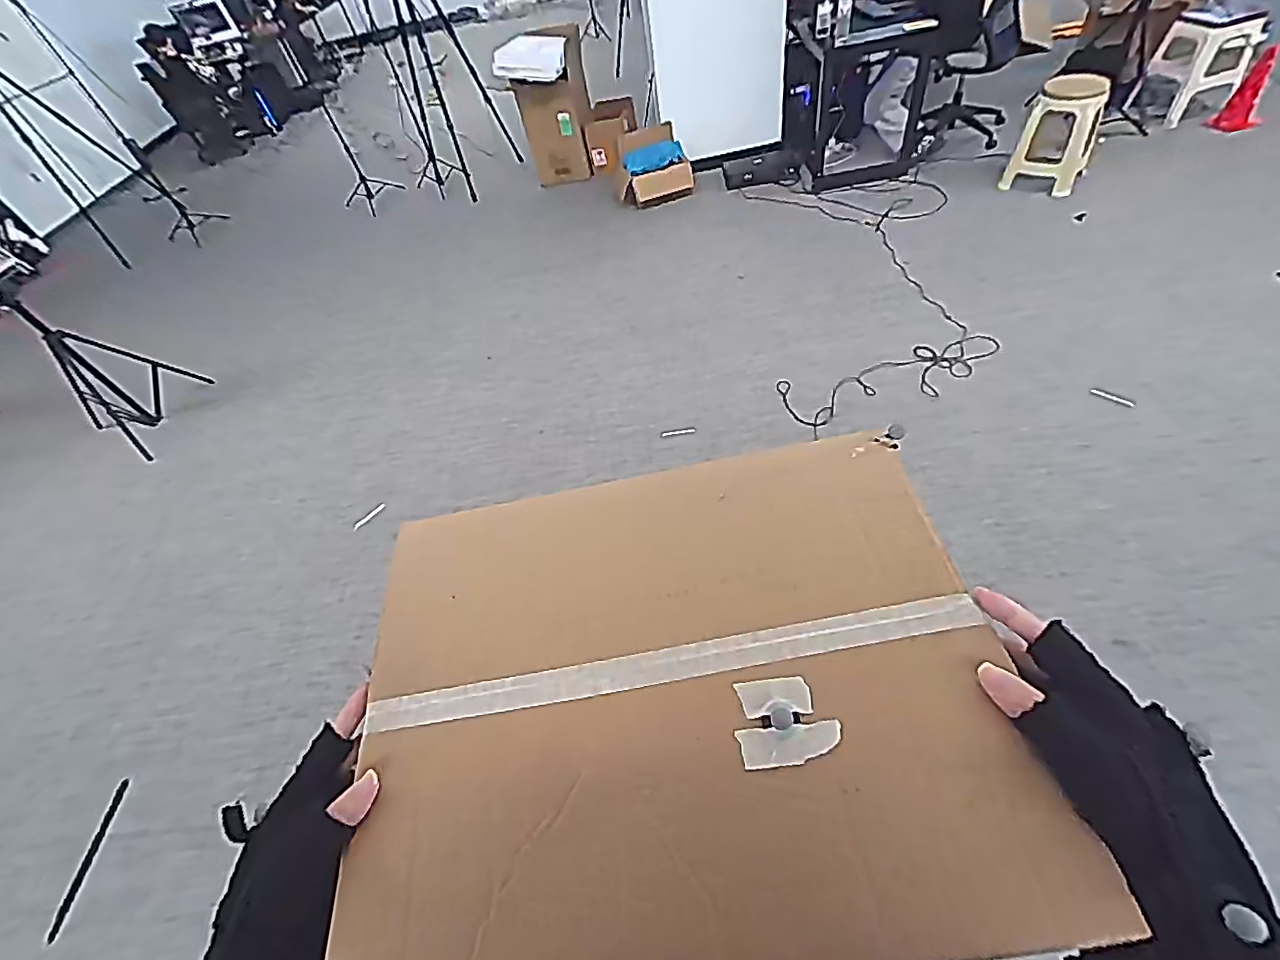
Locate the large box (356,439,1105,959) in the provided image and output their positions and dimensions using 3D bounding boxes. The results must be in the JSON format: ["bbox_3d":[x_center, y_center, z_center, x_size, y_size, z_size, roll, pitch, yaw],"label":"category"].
[{"bbox_3d":[0.043,0.212,0.484,0.408,0.320,0.320,-11,54,4],"label":"large box"}]
